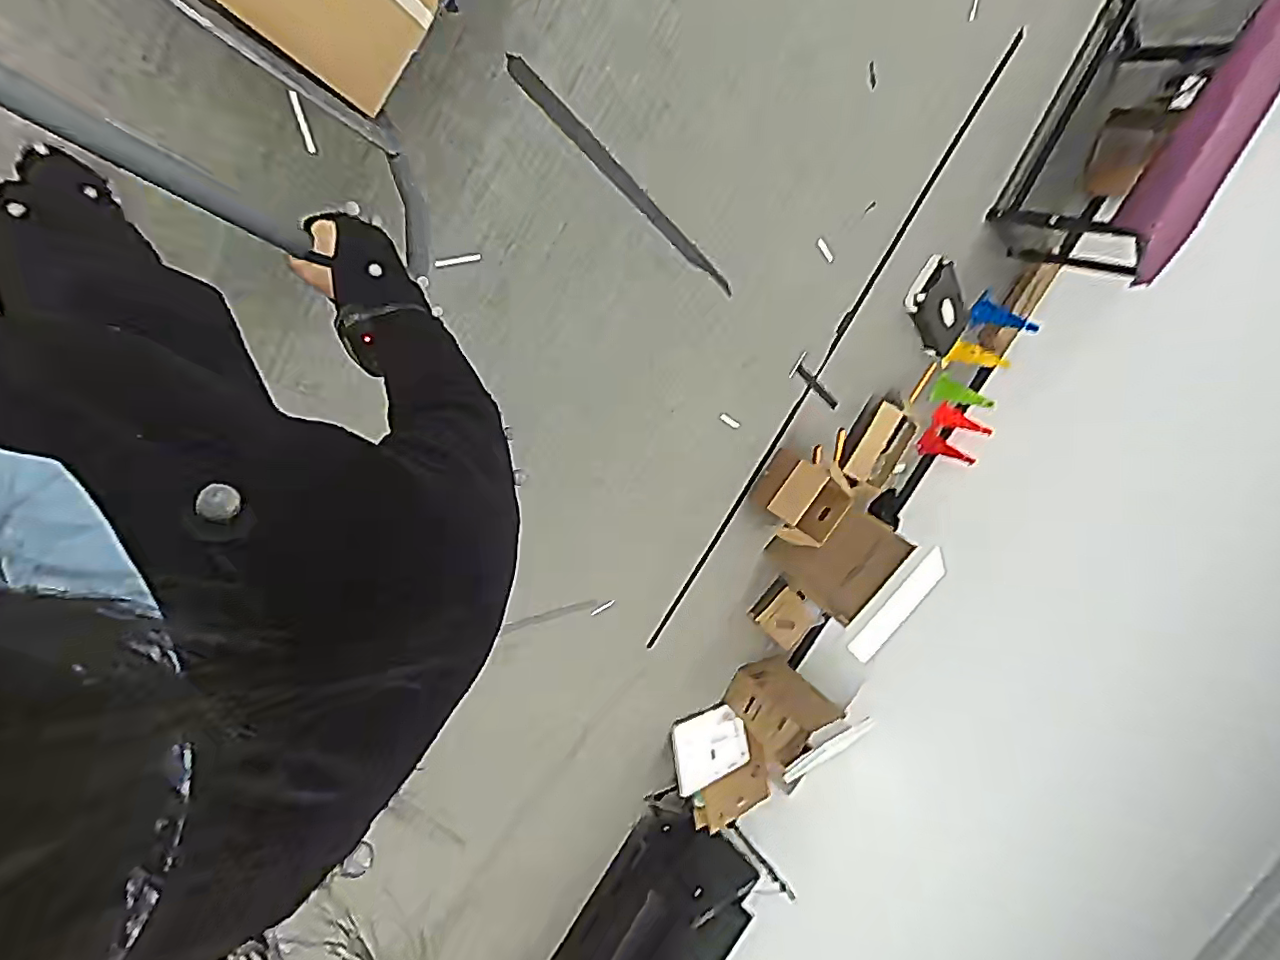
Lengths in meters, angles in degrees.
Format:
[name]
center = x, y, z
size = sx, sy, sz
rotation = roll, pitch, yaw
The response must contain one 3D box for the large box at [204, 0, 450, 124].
[large box]
center = -0.480, -0.776, 0.687
size = 0.320, 0.320, 0.408
rotation = -45, 145, 18
